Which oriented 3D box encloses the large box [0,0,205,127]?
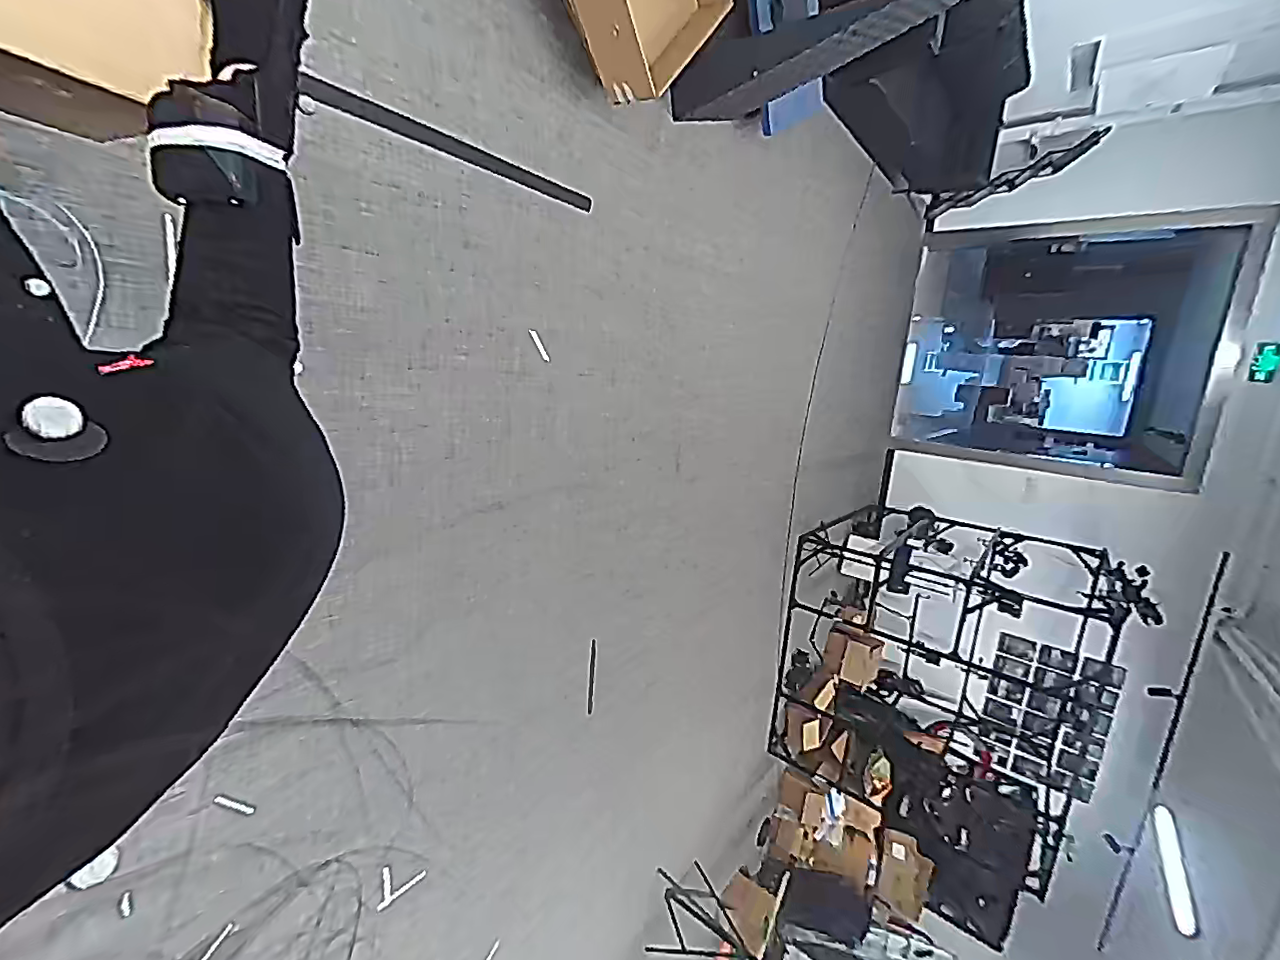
[{"bbox_3d":[-0.524,-0.445,0.282,0.408,0.320,0.320,-6,113,-55],"label":"large box"}]
